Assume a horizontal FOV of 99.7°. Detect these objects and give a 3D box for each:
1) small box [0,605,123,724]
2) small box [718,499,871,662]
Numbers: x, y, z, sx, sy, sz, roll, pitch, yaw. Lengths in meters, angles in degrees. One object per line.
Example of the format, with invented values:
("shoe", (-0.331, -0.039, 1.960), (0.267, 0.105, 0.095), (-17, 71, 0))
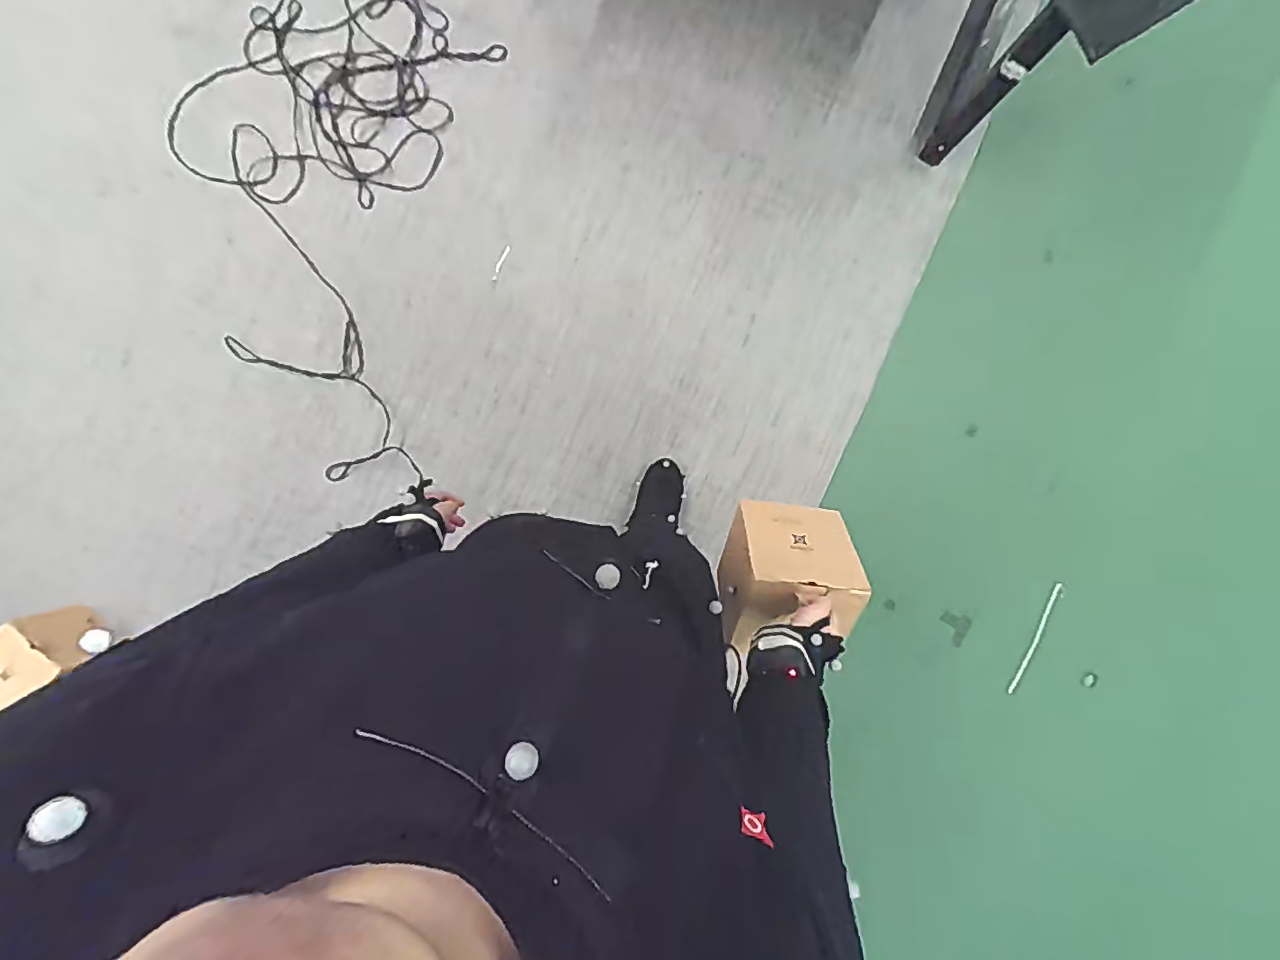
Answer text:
("small box", (-1.393, 0.423, 1.266), (0.168, 0.176, 0.179), (43, 89, -1))
("small box", (0.222, 0.155, 0.831), (0.168, 0.179, 0.176), (8, 124, -3))
